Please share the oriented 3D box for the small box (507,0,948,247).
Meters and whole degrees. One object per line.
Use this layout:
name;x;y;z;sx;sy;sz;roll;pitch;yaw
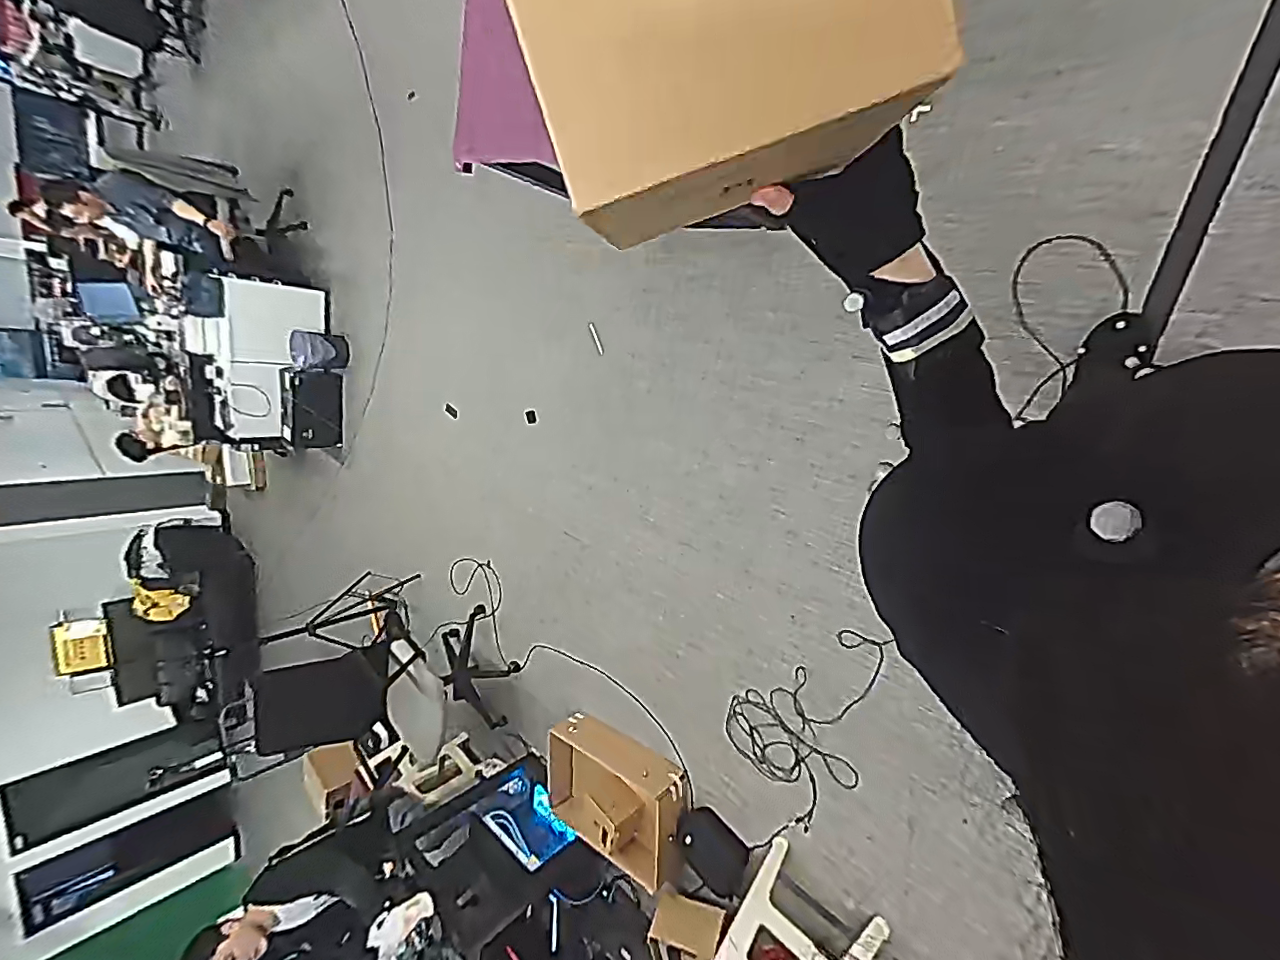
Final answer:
small box;0.030;-0.246;0.287;0.168;0.179;0.176;-17;104;11
